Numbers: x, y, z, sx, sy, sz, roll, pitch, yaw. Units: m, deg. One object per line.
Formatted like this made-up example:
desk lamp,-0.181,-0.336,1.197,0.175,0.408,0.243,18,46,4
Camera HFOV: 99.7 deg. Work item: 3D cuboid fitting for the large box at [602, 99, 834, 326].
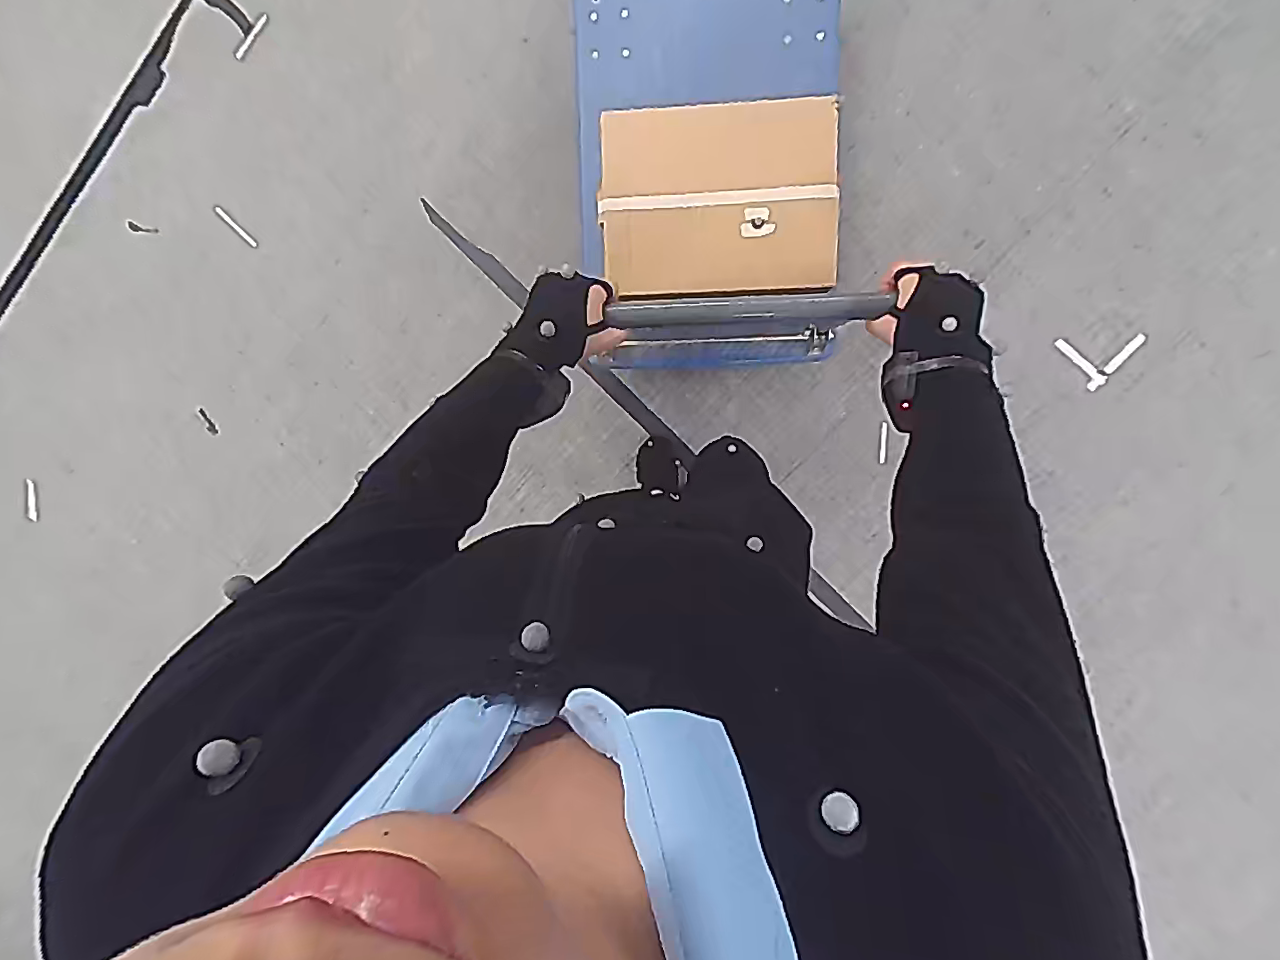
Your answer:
large box,0.144,-0.503,1.091,0.408,0.320,0.320,-1,97,4
